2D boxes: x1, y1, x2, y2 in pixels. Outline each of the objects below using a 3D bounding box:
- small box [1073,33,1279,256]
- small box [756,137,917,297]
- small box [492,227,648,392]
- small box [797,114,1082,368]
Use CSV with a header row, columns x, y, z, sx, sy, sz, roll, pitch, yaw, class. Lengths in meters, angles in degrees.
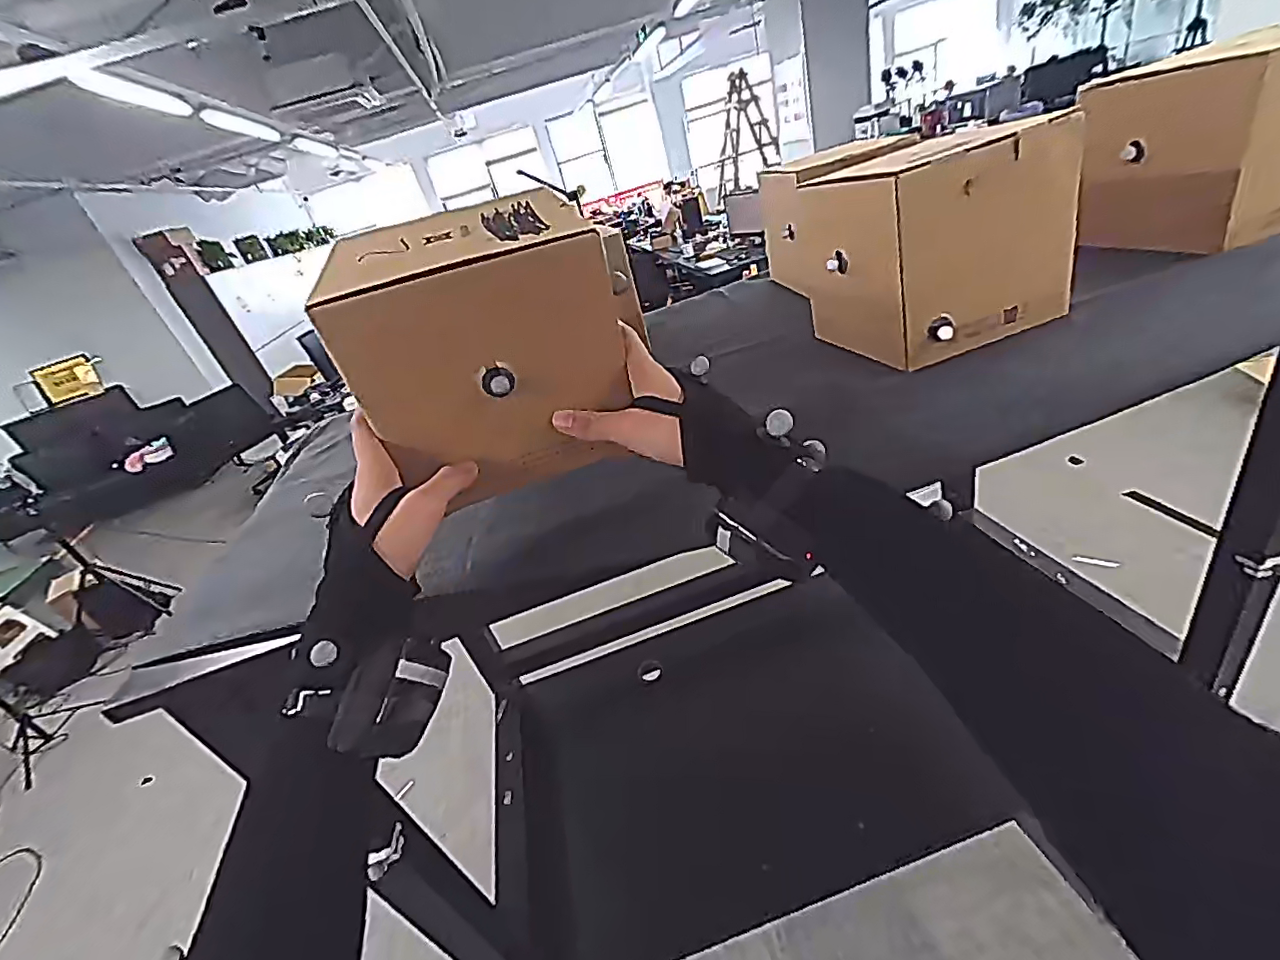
x,y,z,sx,sy,sz,roll,pitch,yaw,class
0.596,-0.343,0.559,0.168,0.176,0.179,-21,29,-3,small box
0.287,-0.383,0.800,0.168,0.176,0.179,-16,29,0,small box
-0.099,-0.240,0.763,0.168,0.176,0.179,-20,30,-5,small box
0.278,-0.223,0.530,0.168,0.176,0.179,-20,27,-3,small box
